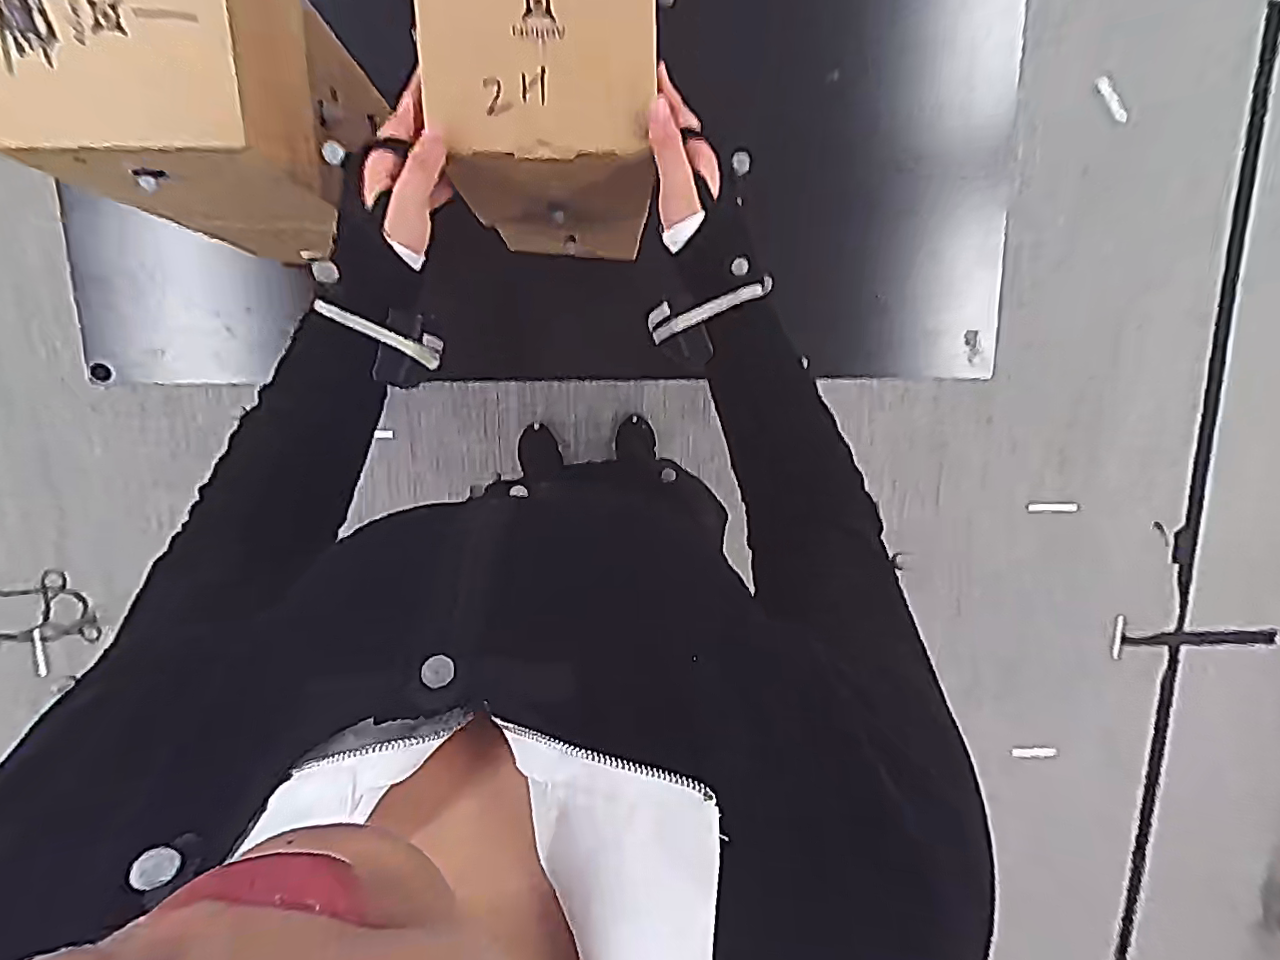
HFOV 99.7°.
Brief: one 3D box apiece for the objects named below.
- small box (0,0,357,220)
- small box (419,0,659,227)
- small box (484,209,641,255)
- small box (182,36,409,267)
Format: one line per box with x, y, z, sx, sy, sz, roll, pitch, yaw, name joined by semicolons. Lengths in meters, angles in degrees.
-0.361;-0.321;0.438;0.179;0.176;0.168;-2;99;-3;small box
-0.073;-0.331;0.451;0.168;0.176;0.179;-1;99;-2;small box
-0.077;-0.367;0.615;0.168;0.176;0.179;3;99;-4;small box
-0.372;-0.349;0.600;0.168;0.176;0.179;-1;100;-3;small box
